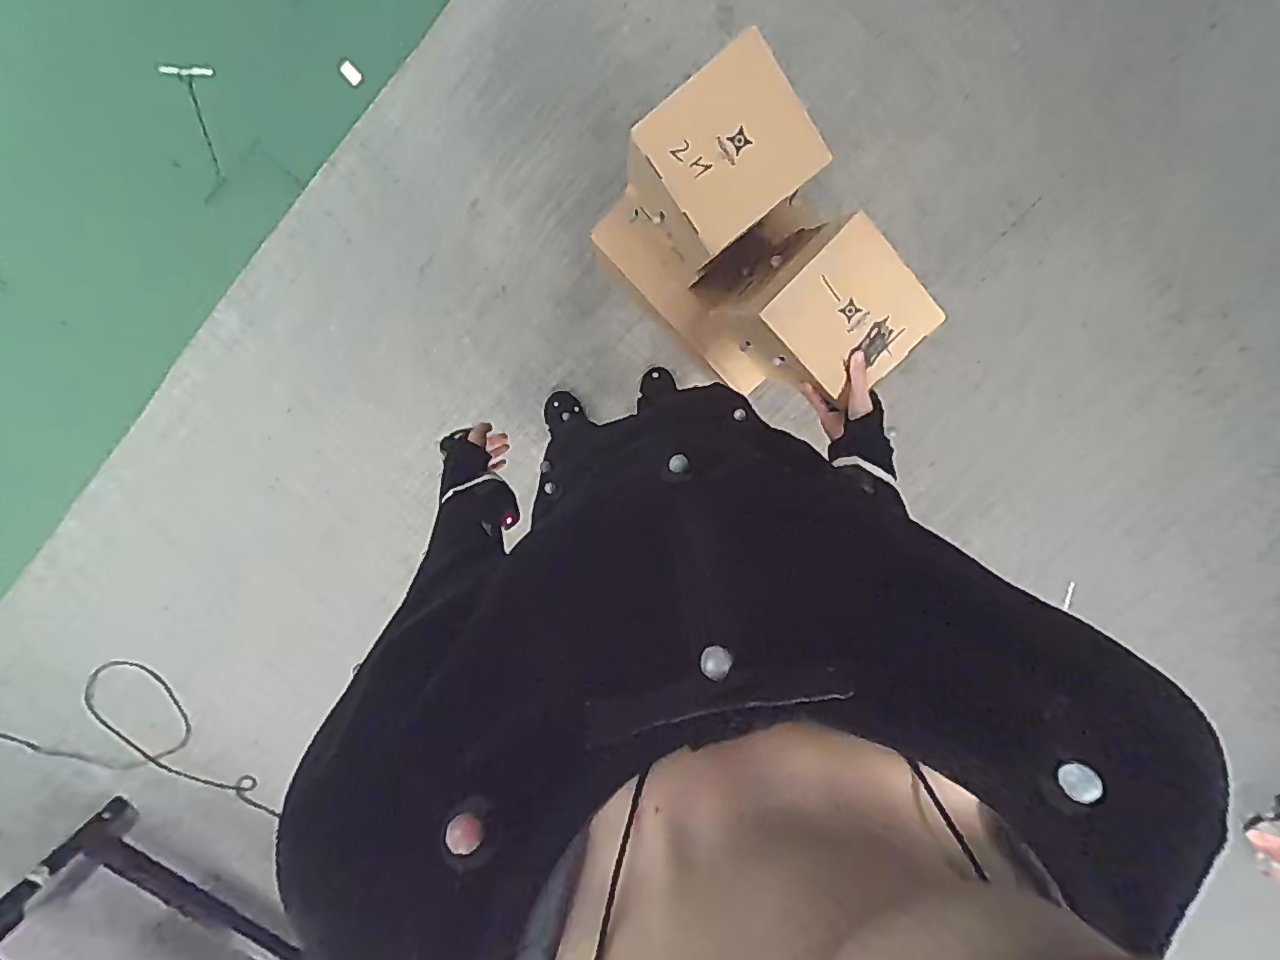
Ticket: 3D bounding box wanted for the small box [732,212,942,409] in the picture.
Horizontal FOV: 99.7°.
[{"bbox_3d":[0.252,-0.225,0.733,0.179,0.176,0.168,43,100,-14],"label":"small box"}]
